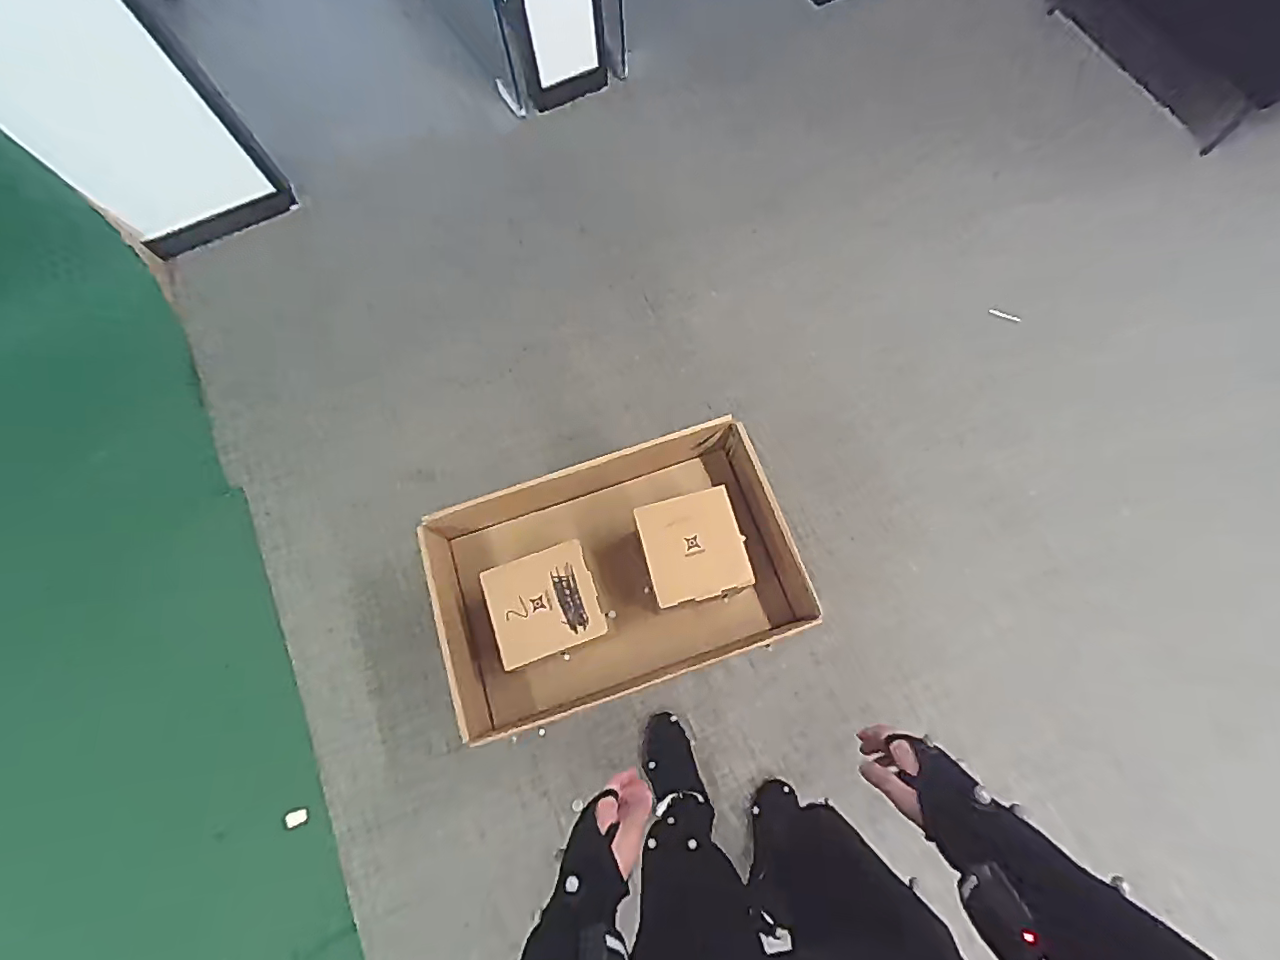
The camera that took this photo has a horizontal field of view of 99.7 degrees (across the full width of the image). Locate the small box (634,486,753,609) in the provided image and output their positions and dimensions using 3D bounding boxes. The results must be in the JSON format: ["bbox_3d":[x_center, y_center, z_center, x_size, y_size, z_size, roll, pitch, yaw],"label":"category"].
[{"bbox_3d":[0.092,0.131,0.981,0.168,0.176,0.179,-15,73,-2],"label":"small box"}]
